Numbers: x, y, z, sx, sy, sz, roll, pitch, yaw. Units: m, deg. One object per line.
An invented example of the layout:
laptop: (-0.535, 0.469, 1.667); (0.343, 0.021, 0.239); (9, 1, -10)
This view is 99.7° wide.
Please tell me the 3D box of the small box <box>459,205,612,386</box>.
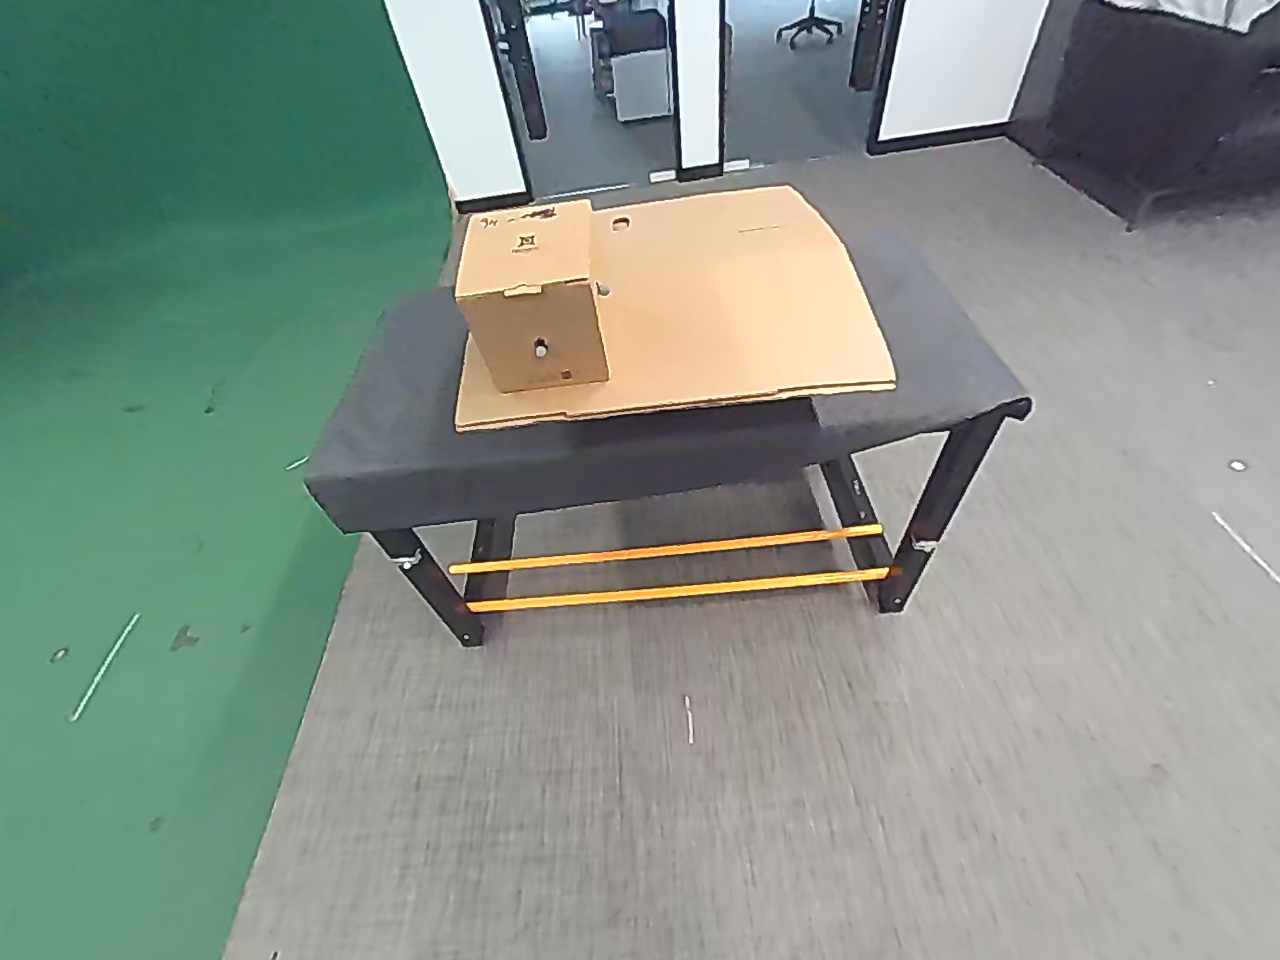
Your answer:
small box: (-0.133, -0.246, 0.753); (0.168, 0.176, 0.179); (-6, 57, 3)
